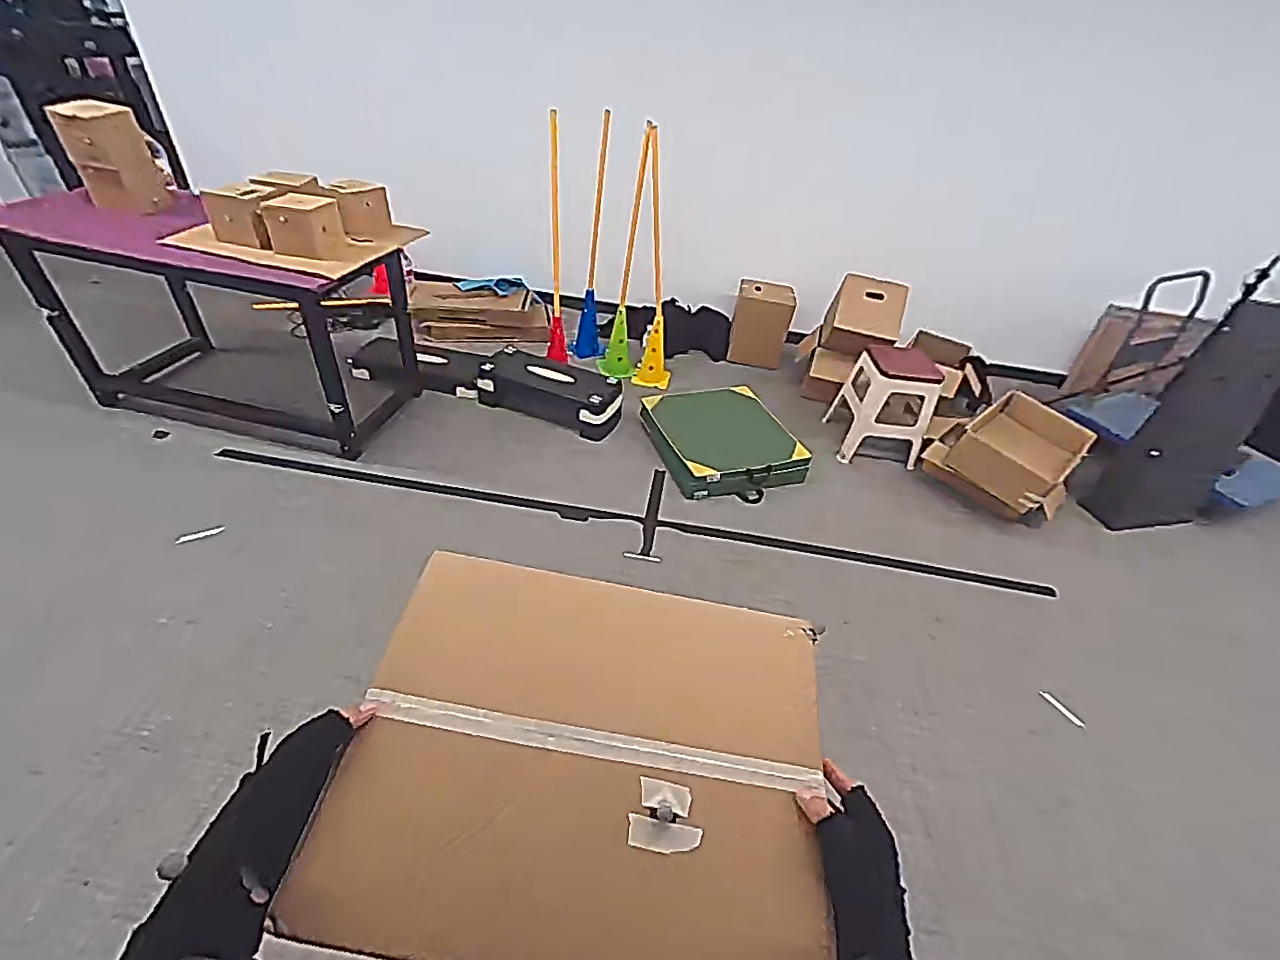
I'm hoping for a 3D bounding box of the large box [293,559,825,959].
[{"bbox_3d":[-0.059,0.327,0.600,0.408,0.320,0.320,11,50,0],"label":"large box"}]
